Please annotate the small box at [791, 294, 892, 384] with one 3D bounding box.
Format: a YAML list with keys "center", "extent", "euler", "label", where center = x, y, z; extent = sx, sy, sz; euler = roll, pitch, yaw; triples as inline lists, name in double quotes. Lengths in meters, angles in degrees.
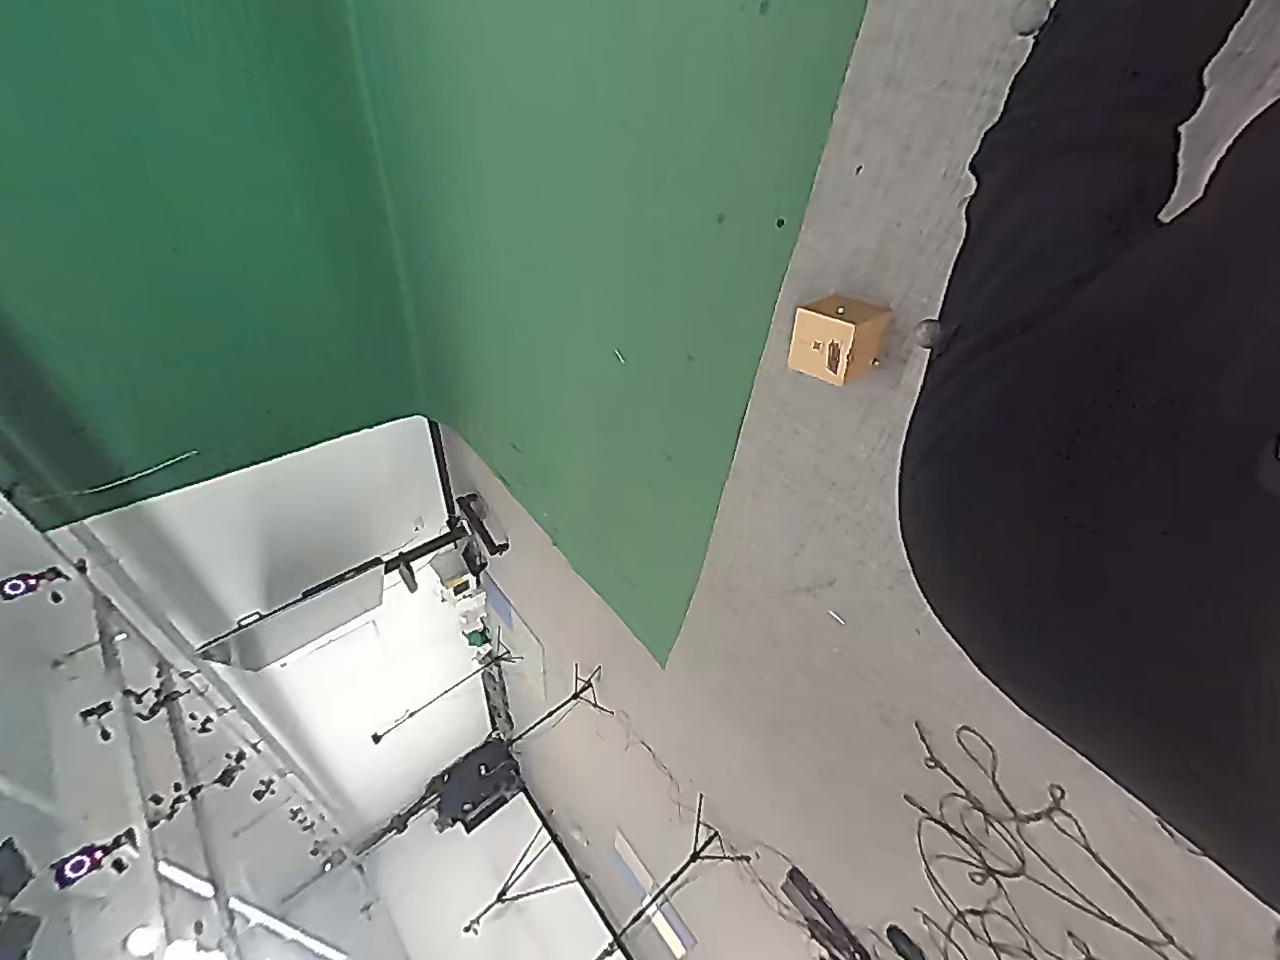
- center: [0.530, -0.378, 1.424]
  extent: [0.179, 0.176, 0.168]
  euler: [36, 138, 39]
  label: "small box"
